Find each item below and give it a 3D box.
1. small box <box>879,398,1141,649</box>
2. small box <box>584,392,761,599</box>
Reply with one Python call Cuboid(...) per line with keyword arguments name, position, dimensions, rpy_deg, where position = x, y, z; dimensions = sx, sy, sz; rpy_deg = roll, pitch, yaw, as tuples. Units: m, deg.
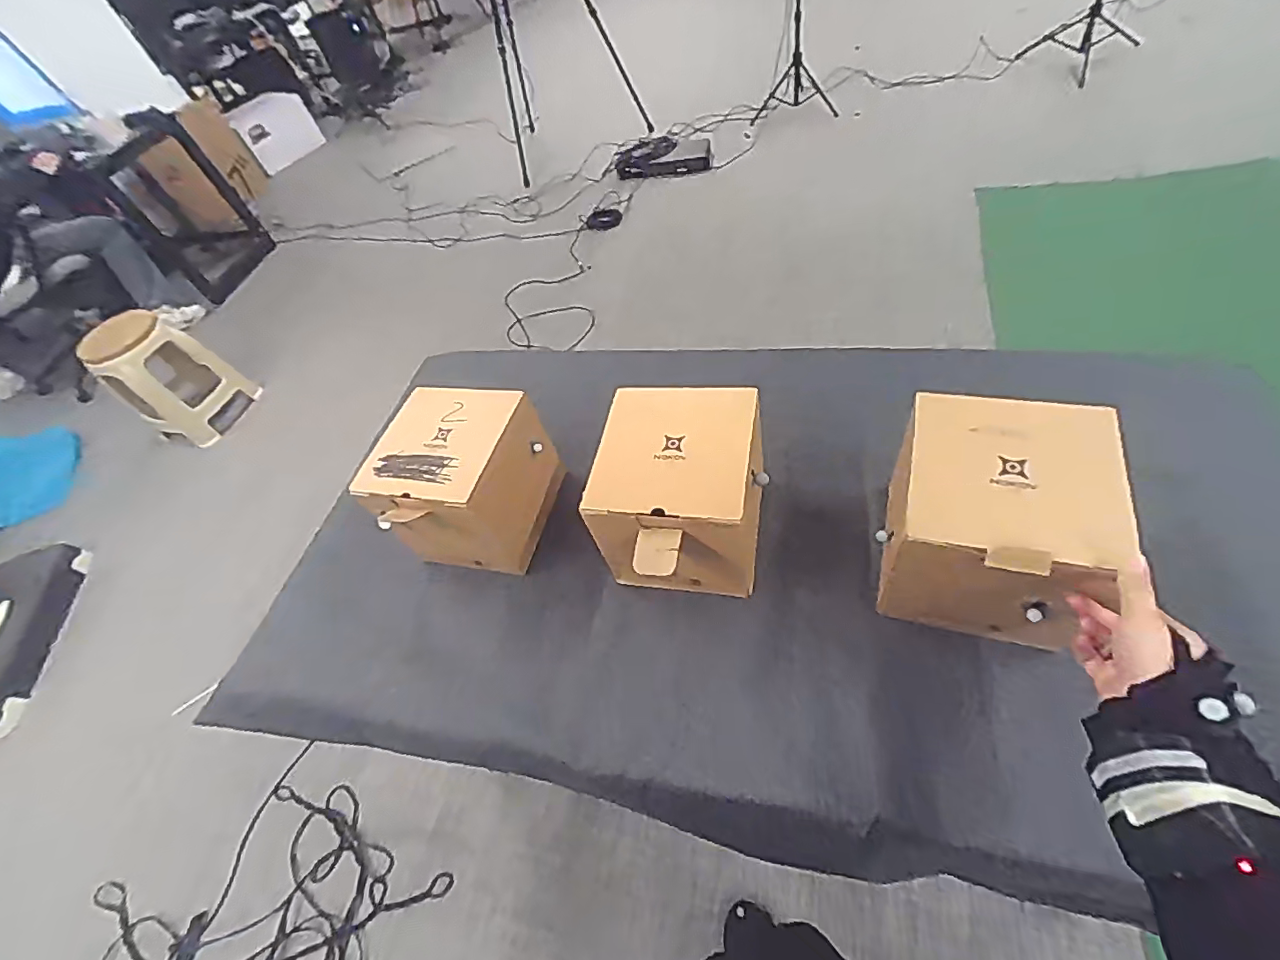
Cuboid(name="small box", position=(0.342, 0.045, 0.536), dimensions=(0.168, 0.176, 0.179), rpy_deg=(9, 56, 19))
Cuboid(name="small box", position=(0.052, 0.018, 0.634), dimensions=(0.168, 0.176, 0.179), rpy_deg=(3, 55, 16))
